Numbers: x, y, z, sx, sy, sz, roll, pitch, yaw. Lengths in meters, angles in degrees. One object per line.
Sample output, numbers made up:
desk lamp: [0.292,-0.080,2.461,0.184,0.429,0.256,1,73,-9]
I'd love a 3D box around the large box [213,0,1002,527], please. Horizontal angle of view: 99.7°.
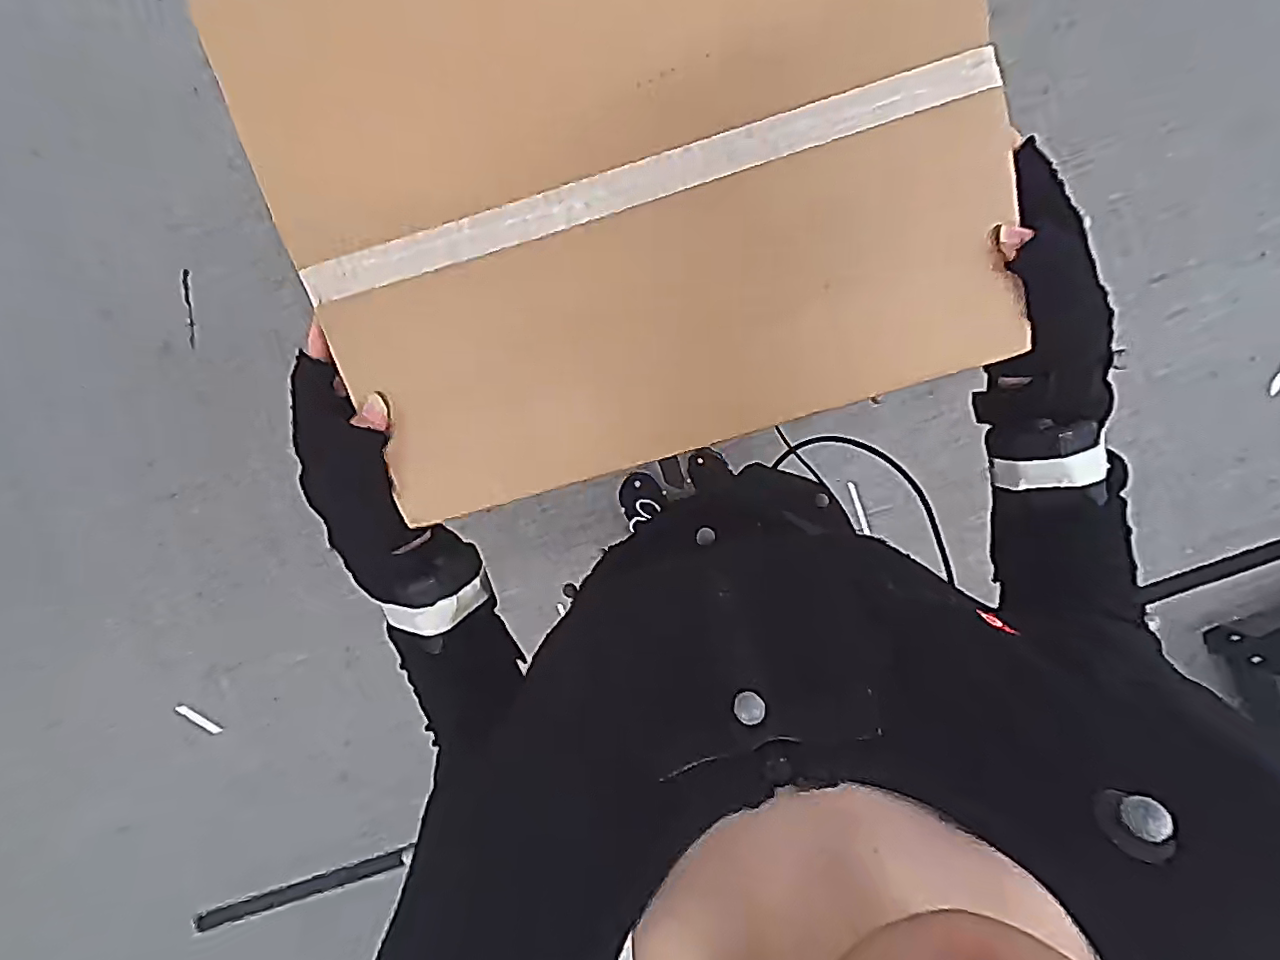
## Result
large box: [-0.003,-0.202,0.461,0.408,0.320,0.320,-16,103,3]
